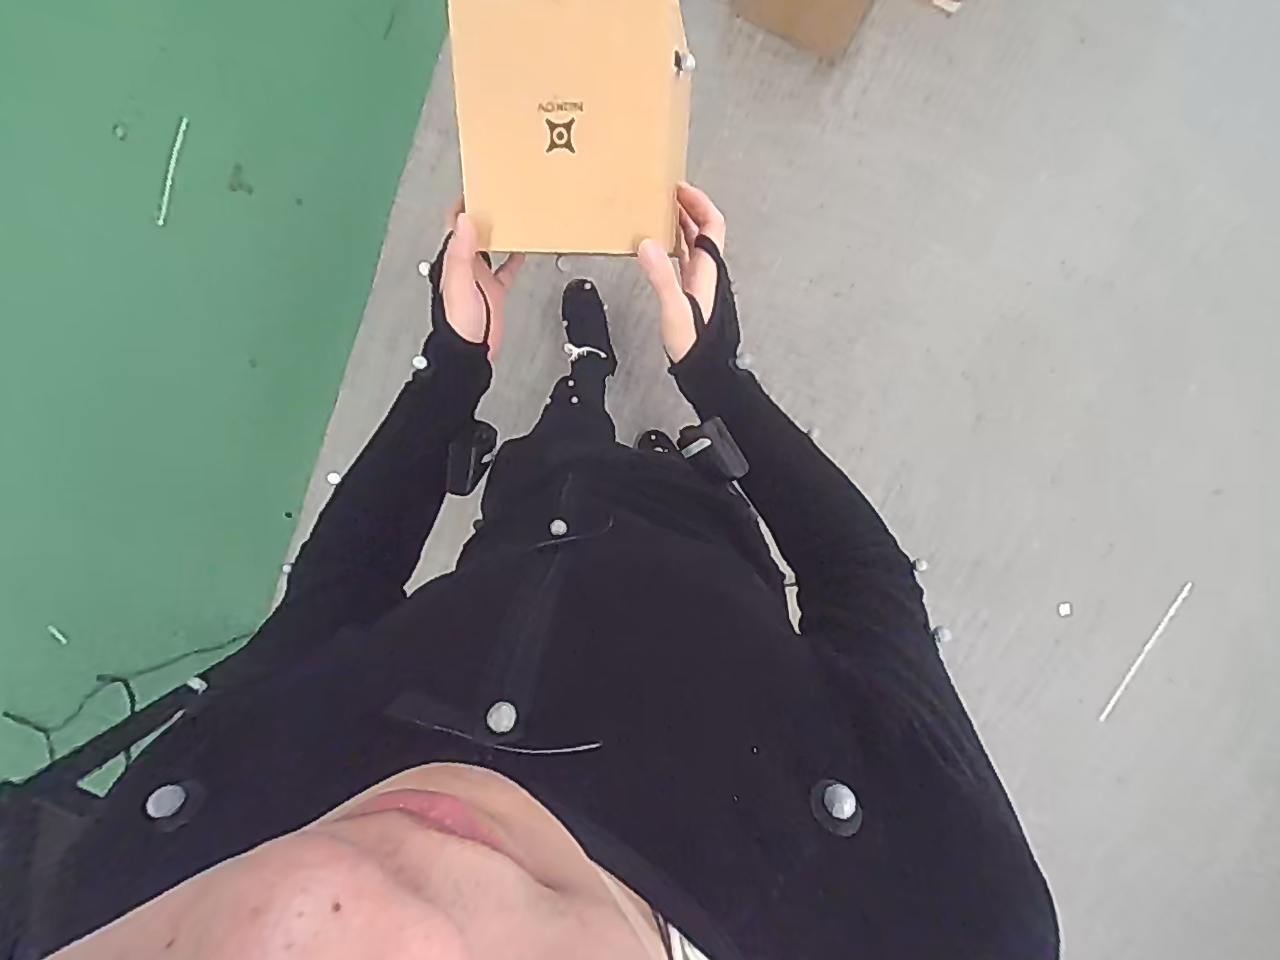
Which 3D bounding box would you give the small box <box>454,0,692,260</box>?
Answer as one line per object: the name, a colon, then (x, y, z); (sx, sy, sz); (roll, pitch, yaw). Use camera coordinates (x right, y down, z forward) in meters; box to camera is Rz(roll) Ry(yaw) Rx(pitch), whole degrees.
small box: (-0.044, -0.294, 0.485); (0.168, 0.176, 0.179); (5, 111, 8)
